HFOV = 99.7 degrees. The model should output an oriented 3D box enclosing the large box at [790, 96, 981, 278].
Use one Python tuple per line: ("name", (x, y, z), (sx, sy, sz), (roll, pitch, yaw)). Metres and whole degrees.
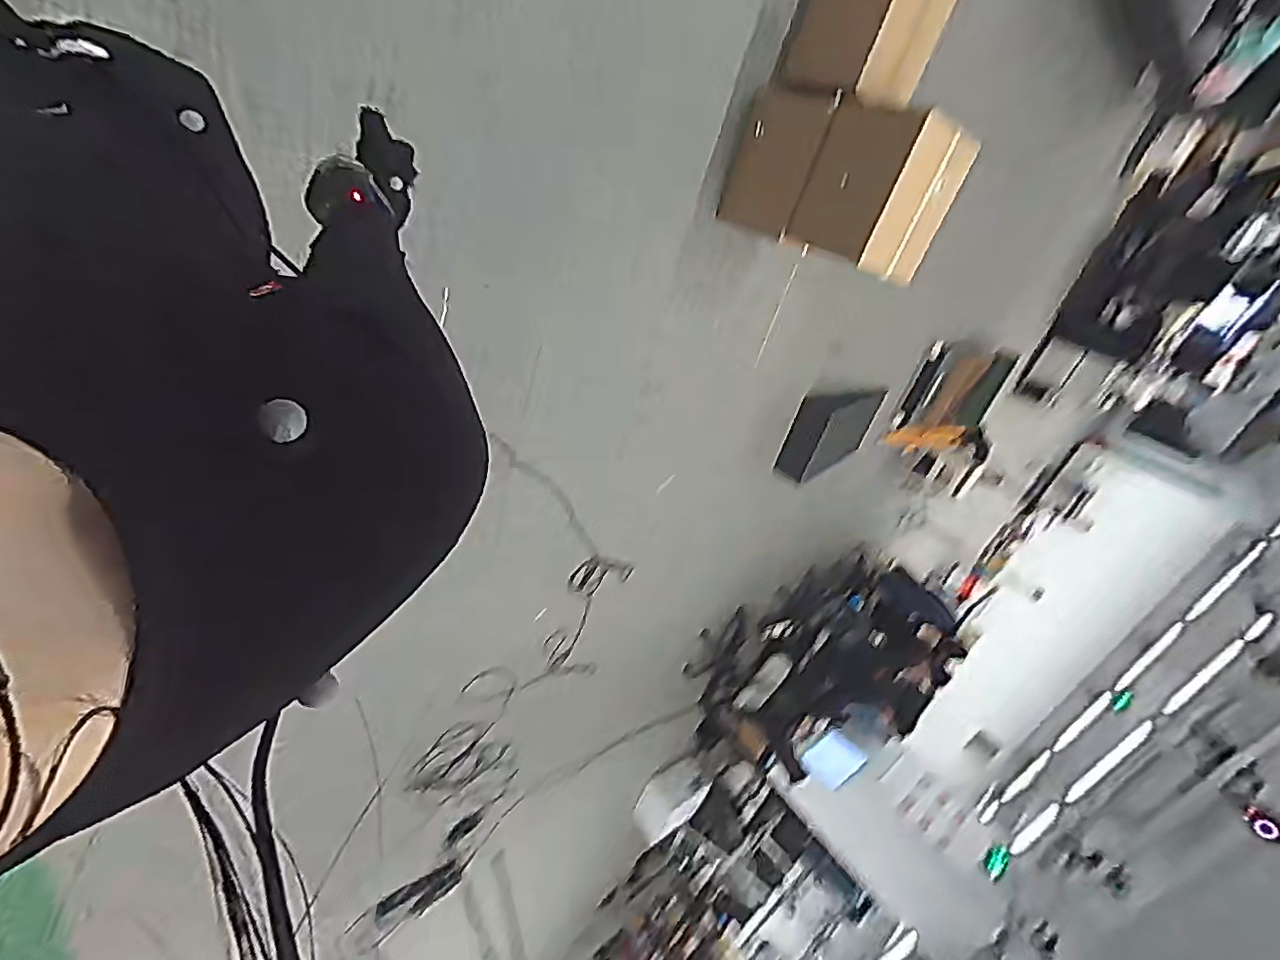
("large box", (0.733, -0.885, 1.659), (0.320, 0.320, 0.408), (-3, 124, -38))
